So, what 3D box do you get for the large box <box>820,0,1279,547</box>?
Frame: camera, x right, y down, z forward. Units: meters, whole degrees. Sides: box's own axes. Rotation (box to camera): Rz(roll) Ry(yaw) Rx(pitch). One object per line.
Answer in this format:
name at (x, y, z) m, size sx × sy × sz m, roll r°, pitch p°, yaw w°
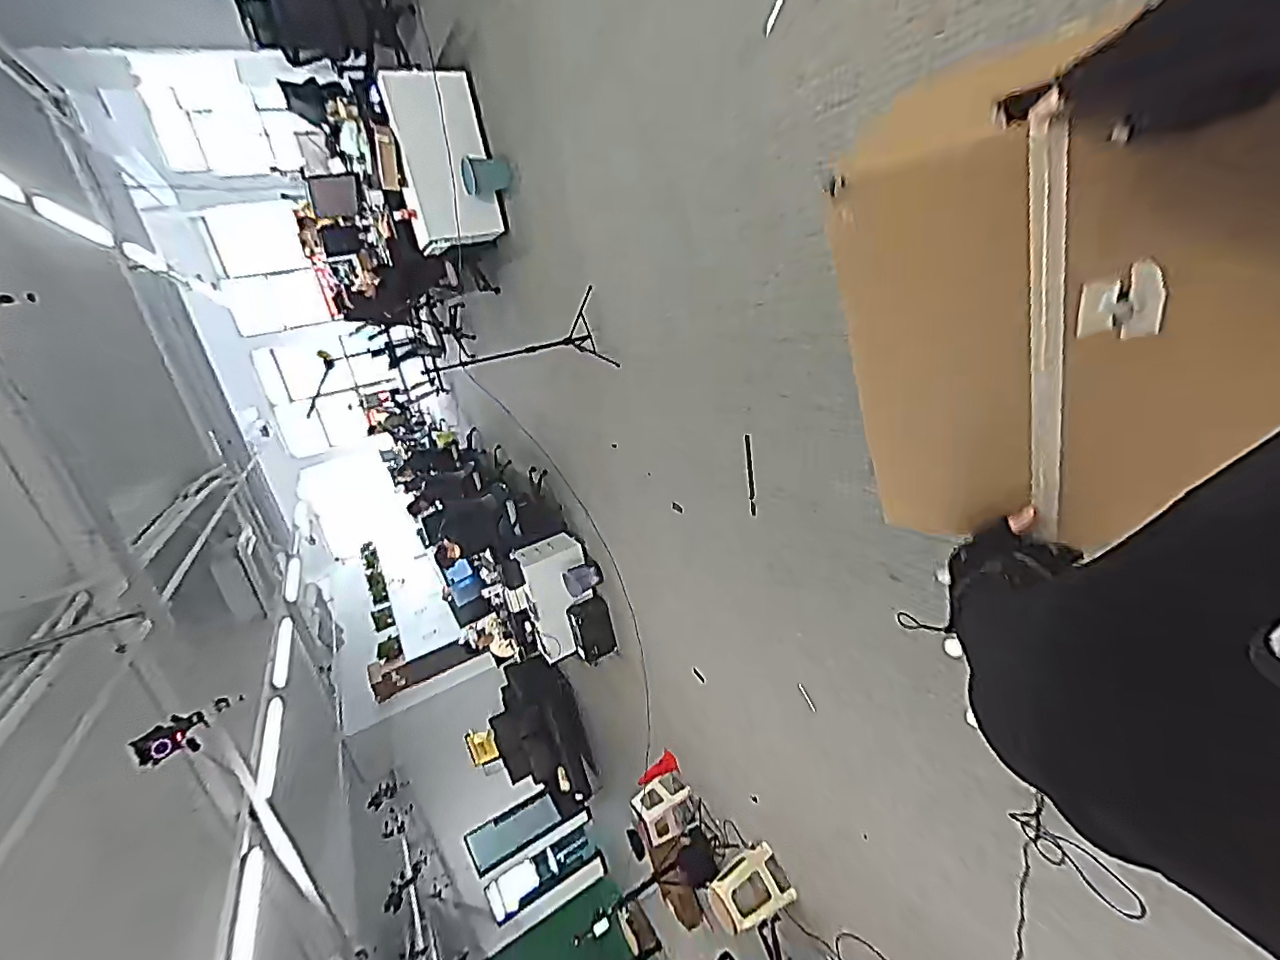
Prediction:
large box at (0.427, -0.190, 0.554) m, size 0.320 × 0.320 × 0.408 m, roll 1°, pitch 130°, yaw 39°
